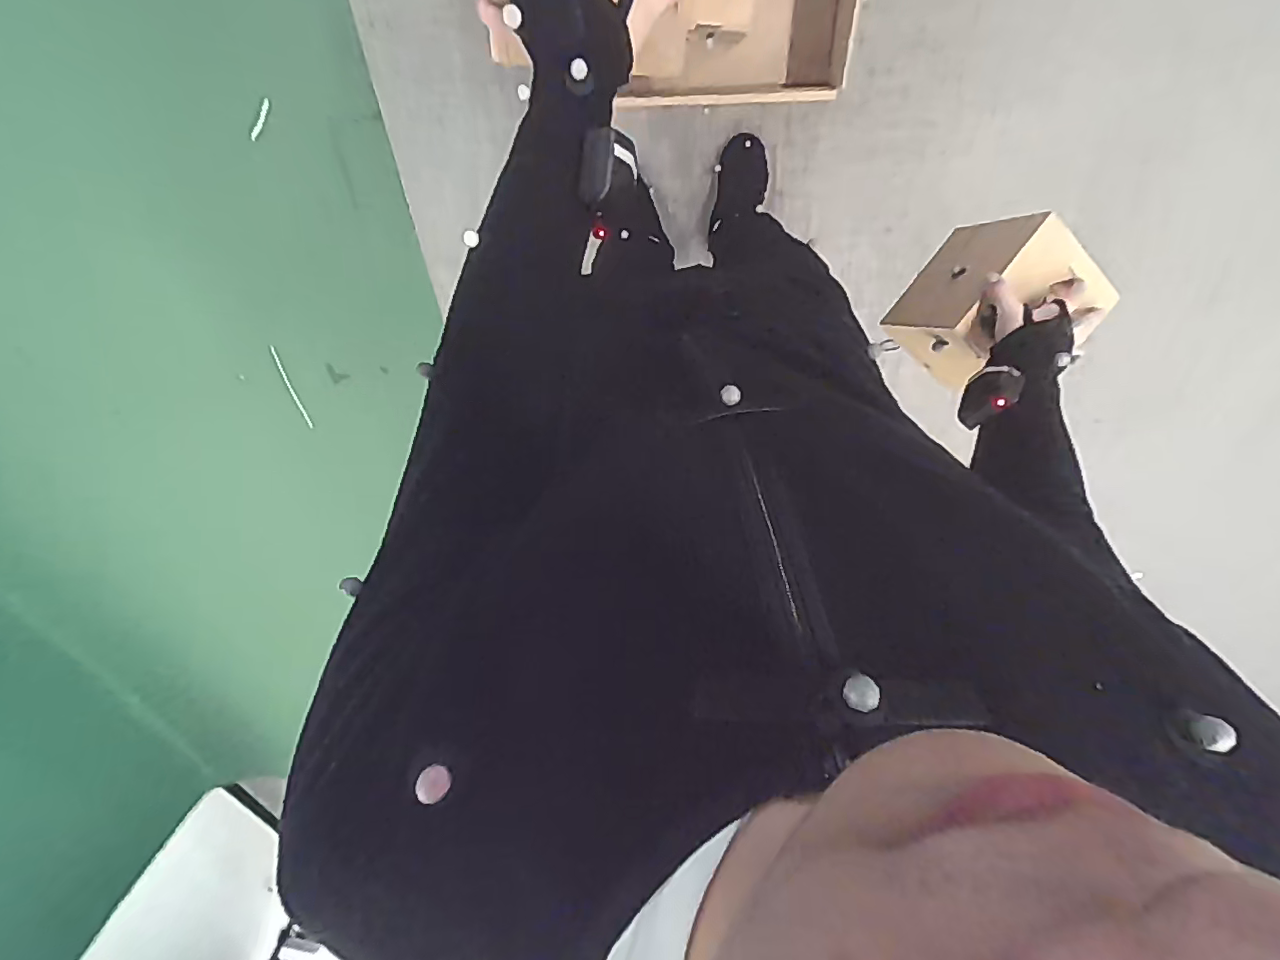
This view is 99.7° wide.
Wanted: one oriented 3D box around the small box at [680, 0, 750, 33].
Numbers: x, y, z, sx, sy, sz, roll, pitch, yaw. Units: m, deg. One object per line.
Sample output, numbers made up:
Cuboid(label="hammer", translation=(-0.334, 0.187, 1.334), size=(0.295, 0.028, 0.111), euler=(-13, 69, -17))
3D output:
Cuboid(label="small box", translation=(0.052, -0.614, 0.596), size=(0.168, 0.176, 0.179), euler=(8, 128, 3))

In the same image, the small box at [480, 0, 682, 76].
Cuboid(label="small box", translation=(-0.043, -0.483, 0.484), size=(0.168, 0.176, 0.179), euler=(7, 131, 2))
